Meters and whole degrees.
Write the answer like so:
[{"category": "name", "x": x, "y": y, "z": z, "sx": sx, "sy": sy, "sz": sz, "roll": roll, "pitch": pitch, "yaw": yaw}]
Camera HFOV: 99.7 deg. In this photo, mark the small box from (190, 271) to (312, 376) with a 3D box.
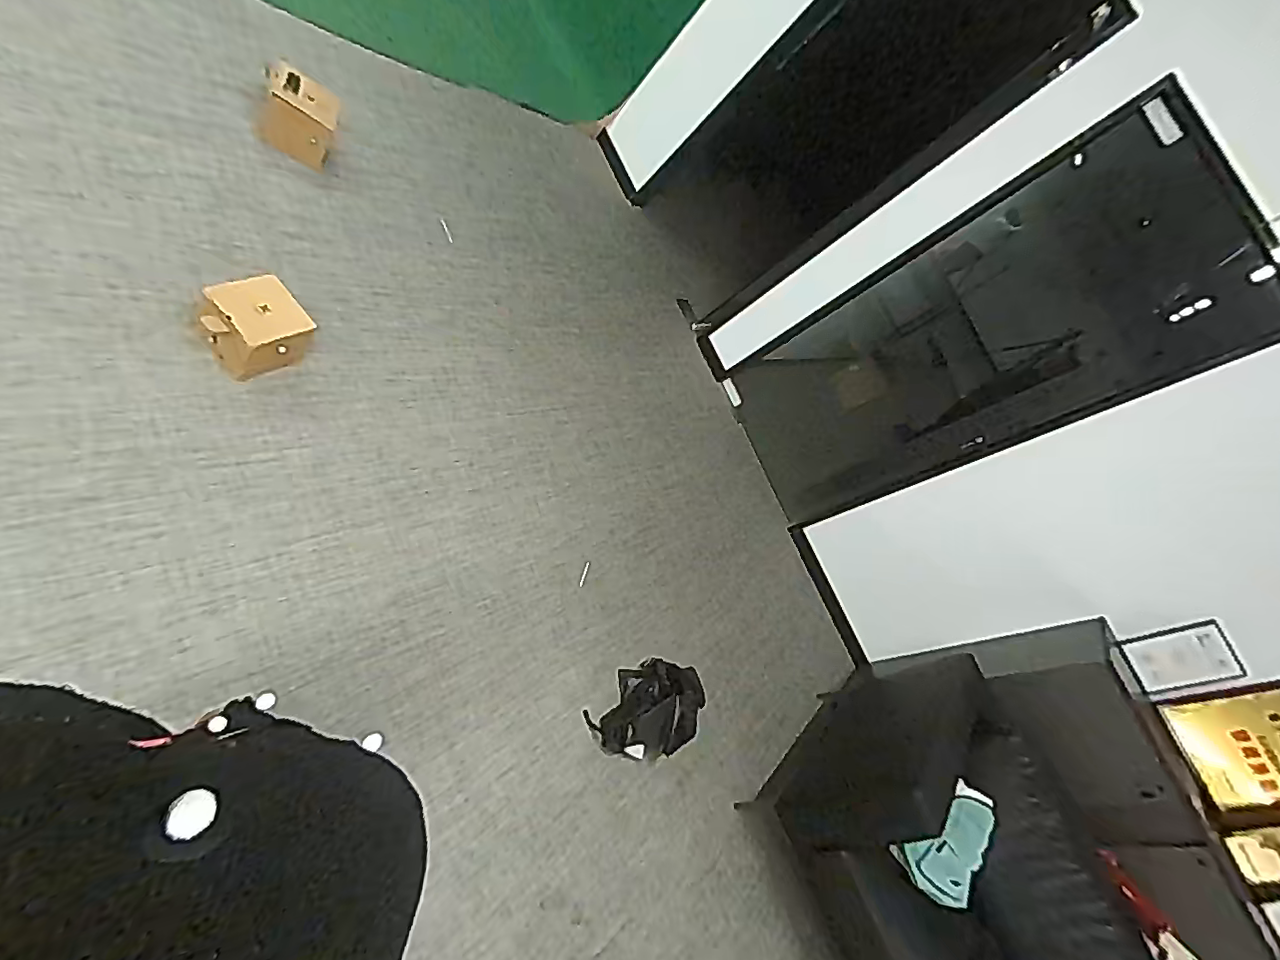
[{"category": "small box", "x": -0.976, "y": -0.390, "z": 1.355, "sx": 0.168, "sy": 0.176, "sz": 0.179, "roll": 53, "pitch": 40, "yaw": -9}]
